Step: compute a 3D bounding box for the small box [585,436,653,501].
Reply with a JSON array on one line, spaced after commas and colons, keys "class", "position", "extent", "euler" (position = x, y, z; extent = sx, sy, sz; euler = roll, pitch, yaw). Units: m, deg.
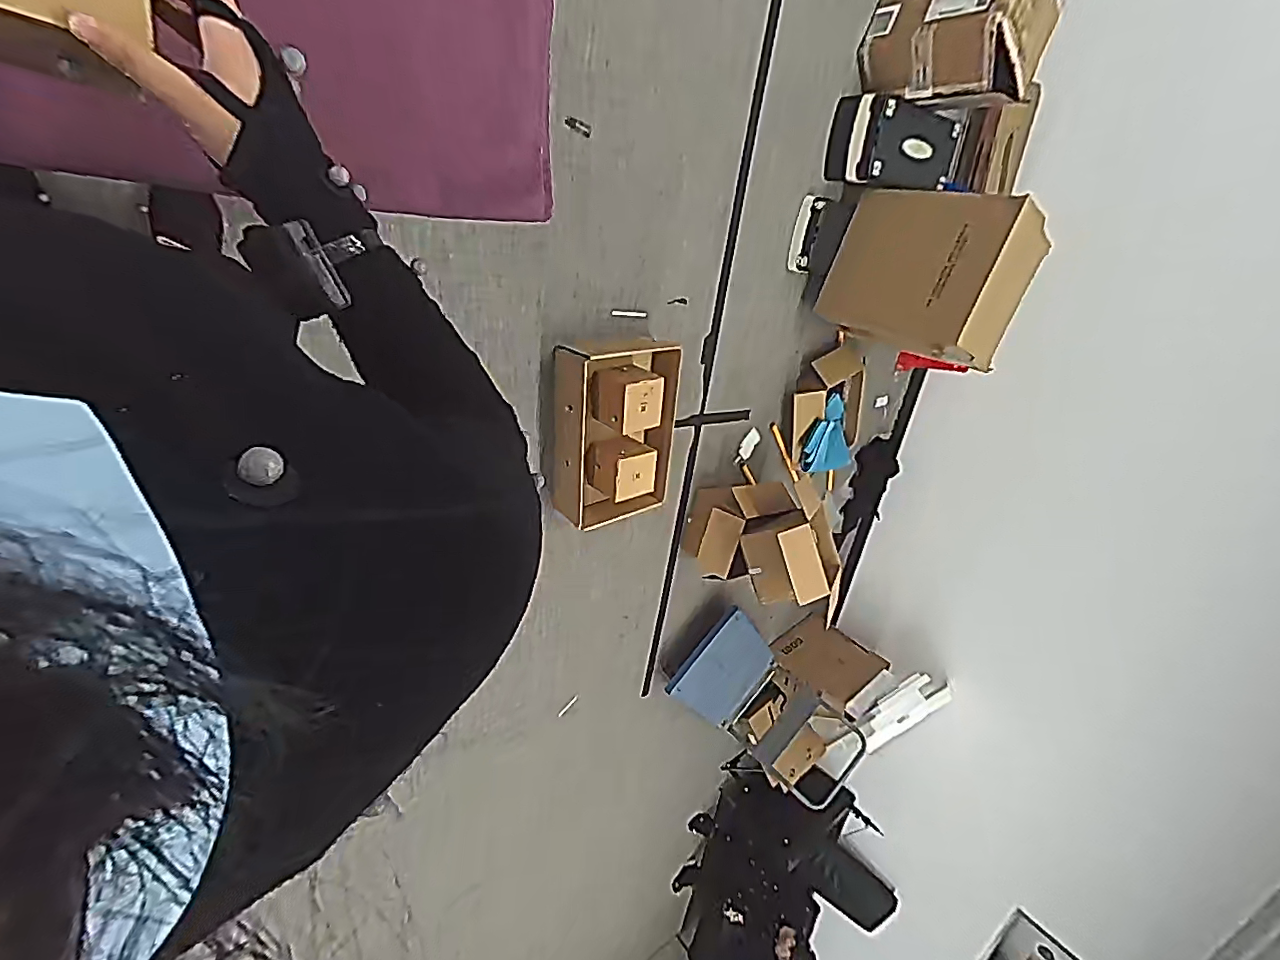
[{"class": "small box", "position": [-0.077, -0.048, 1.942], "extent": [0.179, 0.176, 0.168], "euler": [-16, 123, -36]}]

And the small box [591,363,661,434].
[{"class": "small box", "position": [-0.053, -0.278, 1.823], "extent": [0.168, 0.176, 0.179], "euler": [-19, 127, -36]}]
